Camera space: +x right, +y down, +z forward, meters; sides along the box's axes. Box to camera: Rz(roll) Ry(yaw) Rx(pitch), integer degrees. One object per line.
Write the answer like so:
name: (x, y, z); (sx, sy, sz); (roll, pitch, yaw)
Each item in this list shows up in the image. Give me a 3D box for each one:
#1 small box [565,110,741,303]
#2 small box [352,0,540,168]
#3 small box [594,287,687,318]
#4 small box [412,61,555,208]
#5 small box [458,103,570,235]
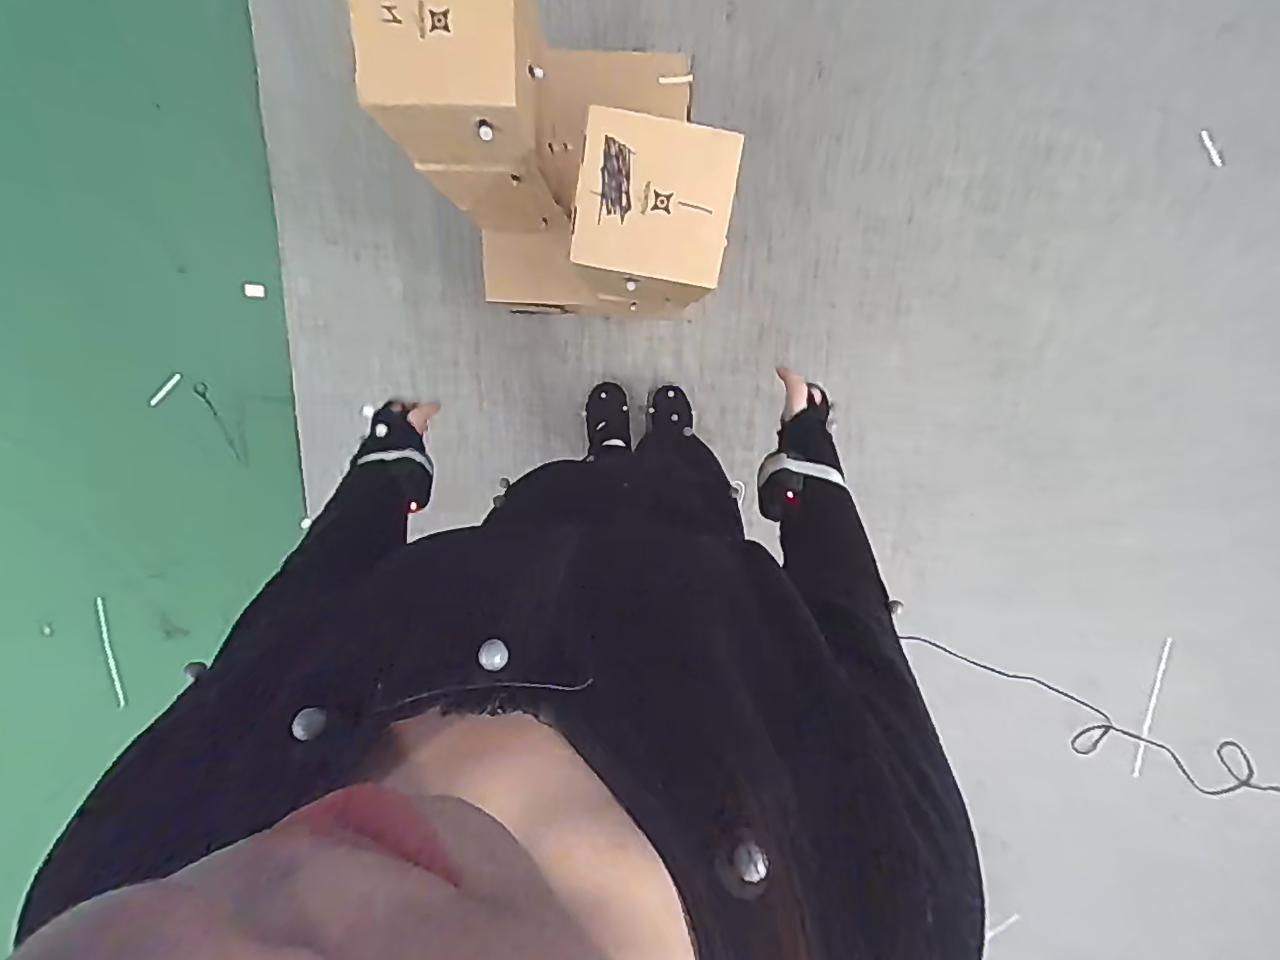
small box: (0.011, -0.328, 0.686); (0.179, 0.176, 0.168); (9, 102, -4)
small box: (-0.219, -0.499, 0.655); (0.179, 0.176, 0.168); (2, 100, 0)
small box: (0.007, -0.407, 1.006); (0.168, 0.176, 0.179); (5, 101, -2)
small box: (-0.229, -0.525, 0.818); (0.179, 0.176, 0.168); (0, 100, -1)
small box: (-0.222, -0.553, 0.978); (0.179, 0.176, 0.168); (-1, 100, 1)
